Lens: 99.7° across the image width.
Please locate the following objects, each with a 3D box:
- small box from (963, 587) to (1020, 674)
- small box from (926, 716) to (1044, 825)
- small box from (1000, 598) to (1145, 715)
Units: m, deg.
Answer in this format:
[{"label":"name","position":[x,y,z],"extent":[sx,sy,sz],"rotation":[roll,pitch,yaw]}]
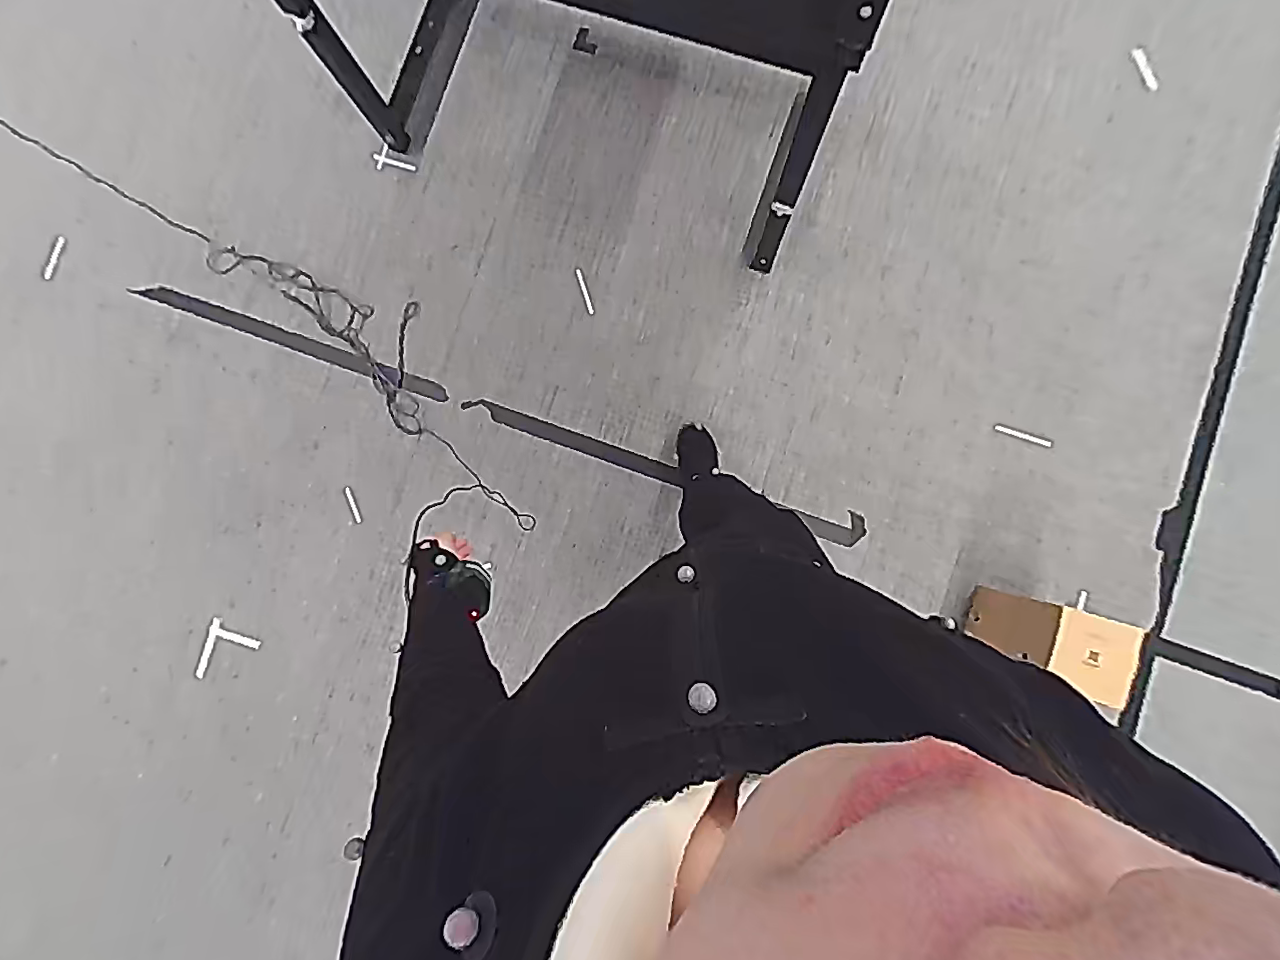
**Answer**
[{"label":"small box","position":[0.941,0.385,1.345],"extent":[0.168,0.176,0.179],"rotation":[19,89,4]},{"label":"small box","position":[0.841,0.705,1.336],"extent":[0.179,0.176,0.168],"rotation":[12,88,3]},{"label":"small box","position":[0.930,0.375,1.182],"extent":[0.168,0.176,0.179],"rotation":[17,87,4]}]
